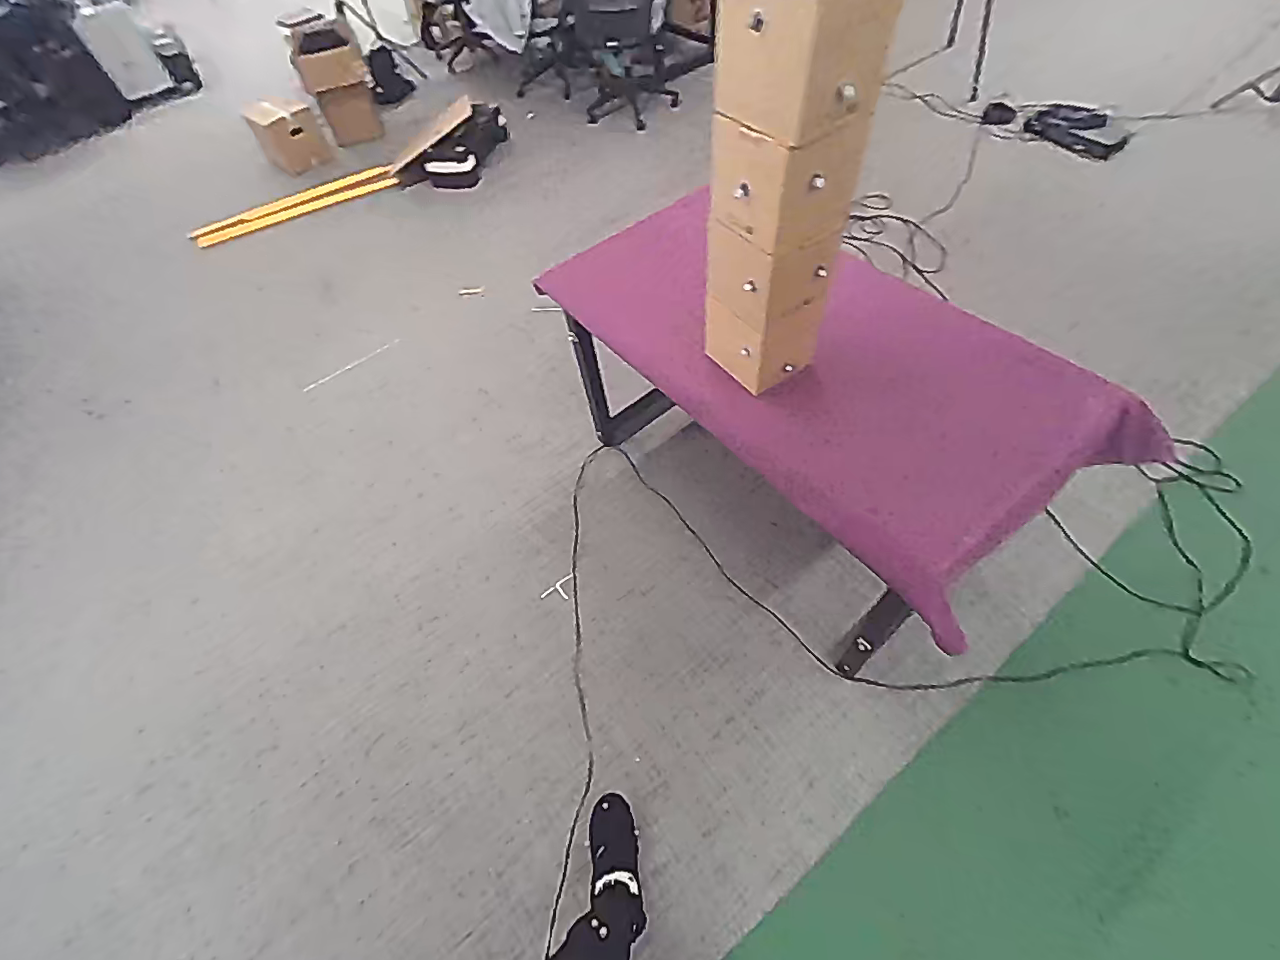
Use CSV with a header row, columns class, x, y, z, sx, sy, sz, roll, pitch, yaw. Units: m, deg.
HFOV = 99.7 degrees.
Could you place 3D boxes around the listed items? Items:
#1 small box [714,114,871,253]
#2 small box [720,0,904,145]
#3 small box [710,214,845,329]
class,x,y,z,sx,sy,sz,roll,pitch,yaw
small box,0.239,-0.505,0.885,0.179,0.176,0.168,-31,59,-15
small box,0.226,-0.599,0.751,0.168,0.176,0.179,-33,59,-16
small box,0.248,-0.410,1.017,0.168,0.176,0.179,-31,58,-15
